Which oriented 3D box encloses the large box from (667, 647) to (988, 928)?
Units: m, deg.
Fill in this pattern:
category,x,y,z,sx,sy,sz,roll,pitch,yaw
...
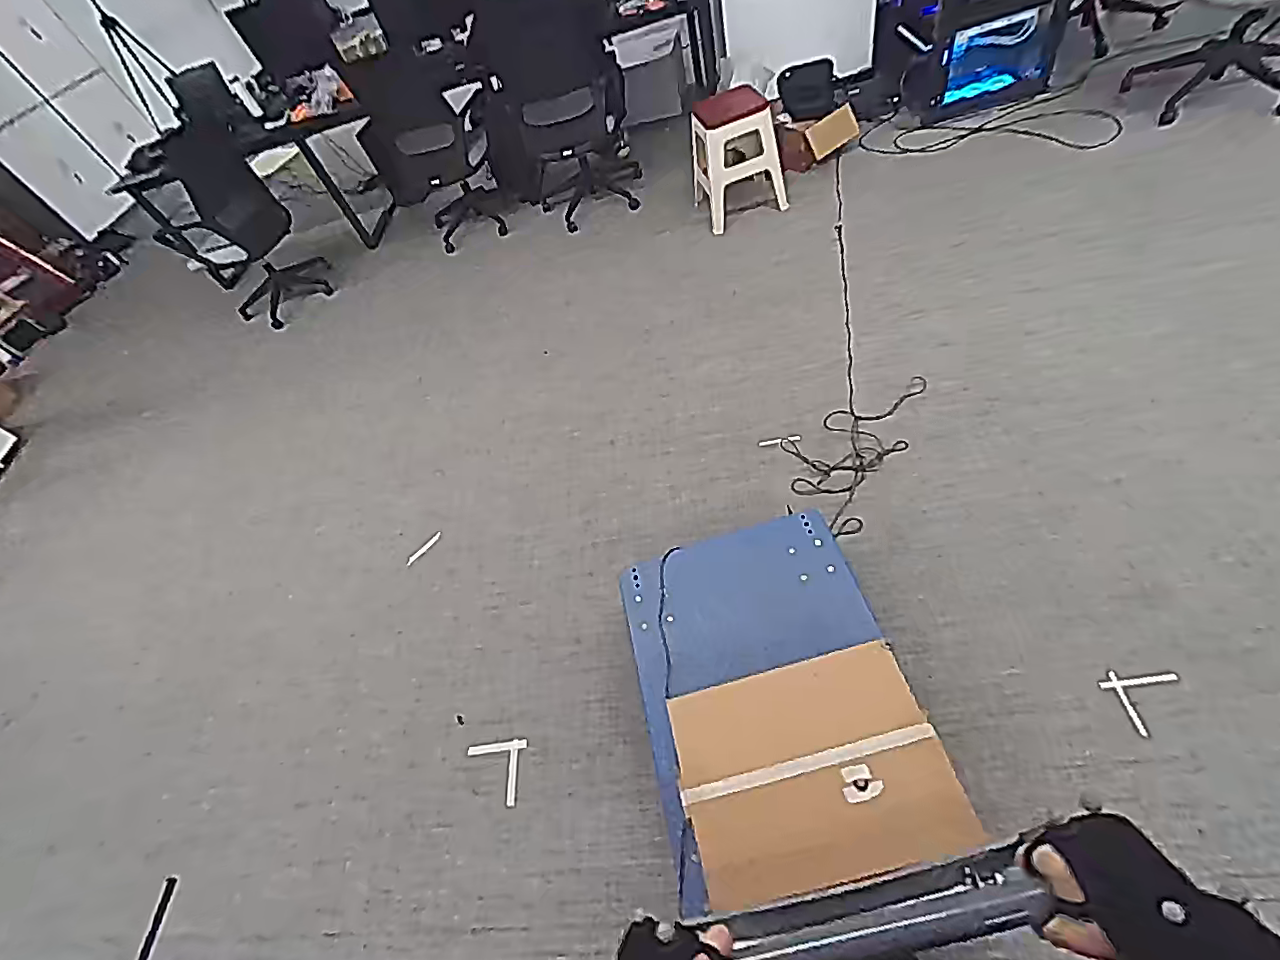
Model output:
category,x,y,z,sx,sy,sz,roll,pitch,yaw
large box,0.296,0.548,0.957,0.408,0.320,0.320,-17,51,4
